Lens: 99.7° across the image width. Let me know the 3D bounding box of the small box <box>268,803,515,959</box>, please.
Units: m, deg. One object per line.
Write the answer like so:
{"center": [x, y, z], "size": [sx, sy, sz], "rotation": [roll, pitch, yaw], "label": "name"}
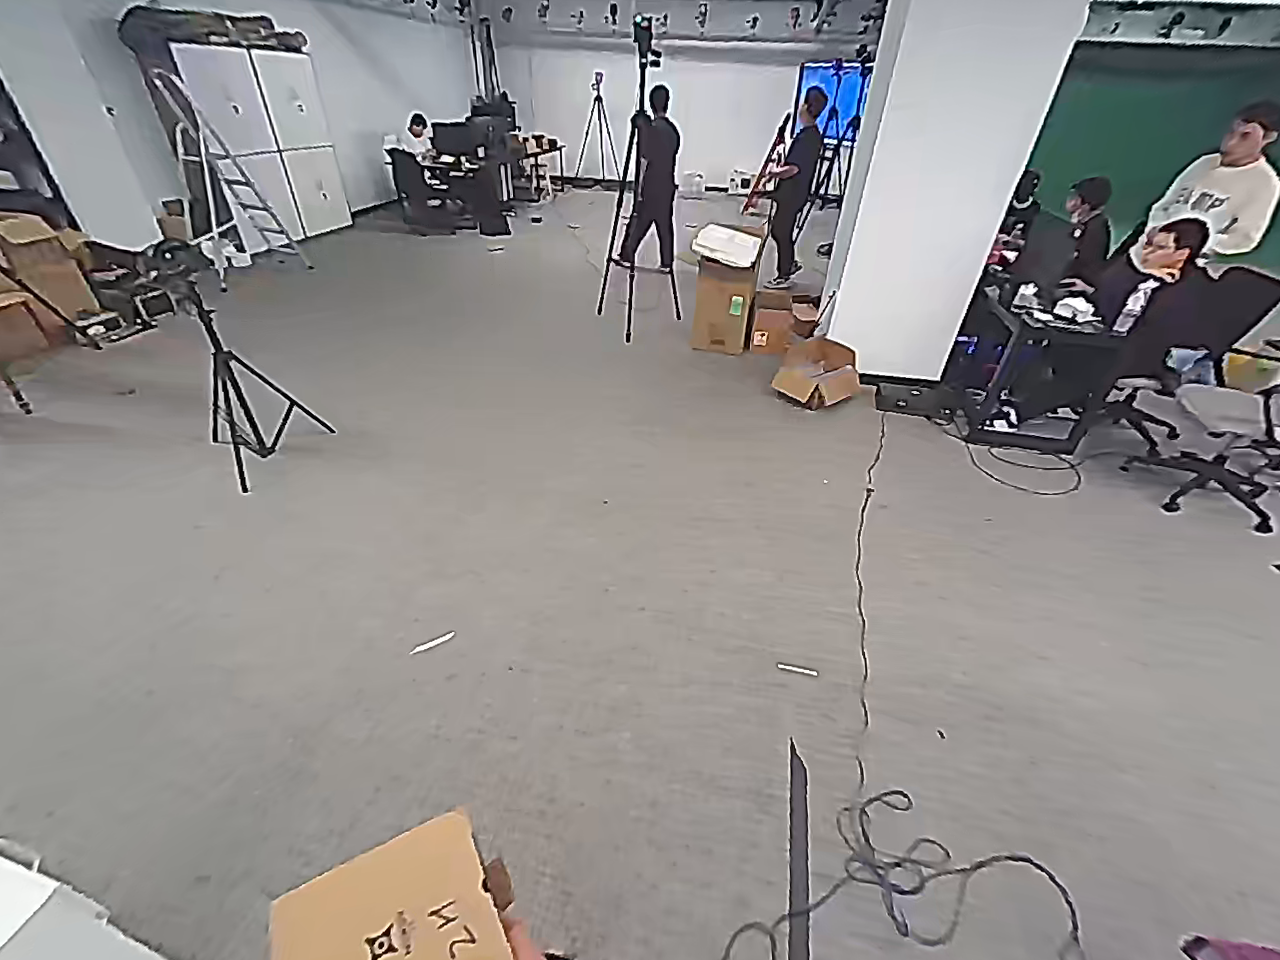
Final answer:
{"center": [-0.225, 0.464, 0.512], "size": [0.179, 0.176, 0.168], "rotation": [-14, 38, -30], "label": "small box"}
